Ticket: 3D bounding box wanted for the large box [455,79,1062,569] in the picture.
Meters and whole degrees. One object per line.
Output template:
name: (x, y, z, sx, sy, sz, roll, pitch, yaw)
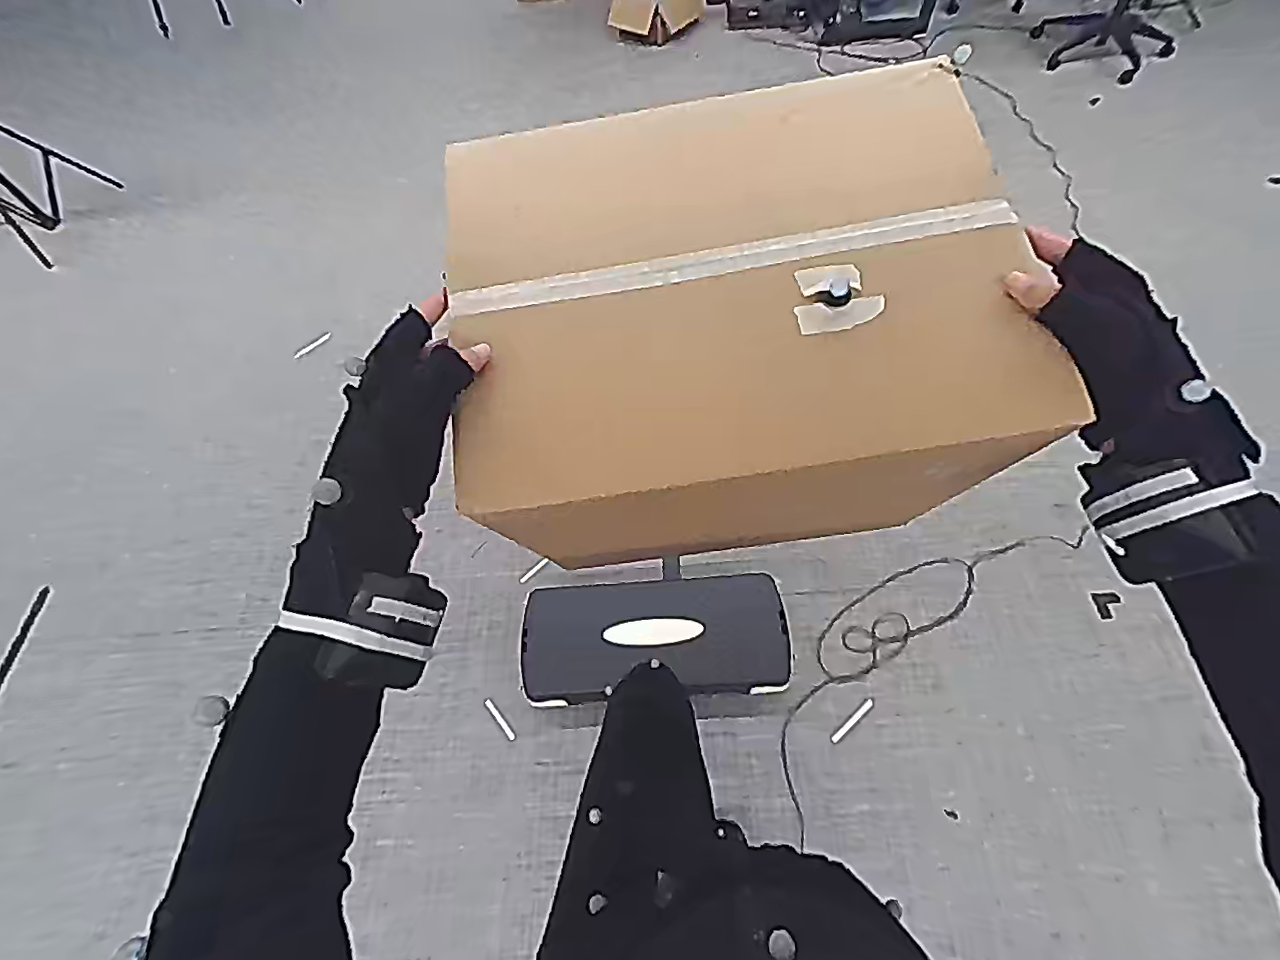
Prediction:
large box: (0.071, -0.110, 0.544, 0.408, 0.320, 0.320, -9, 73, 2)
